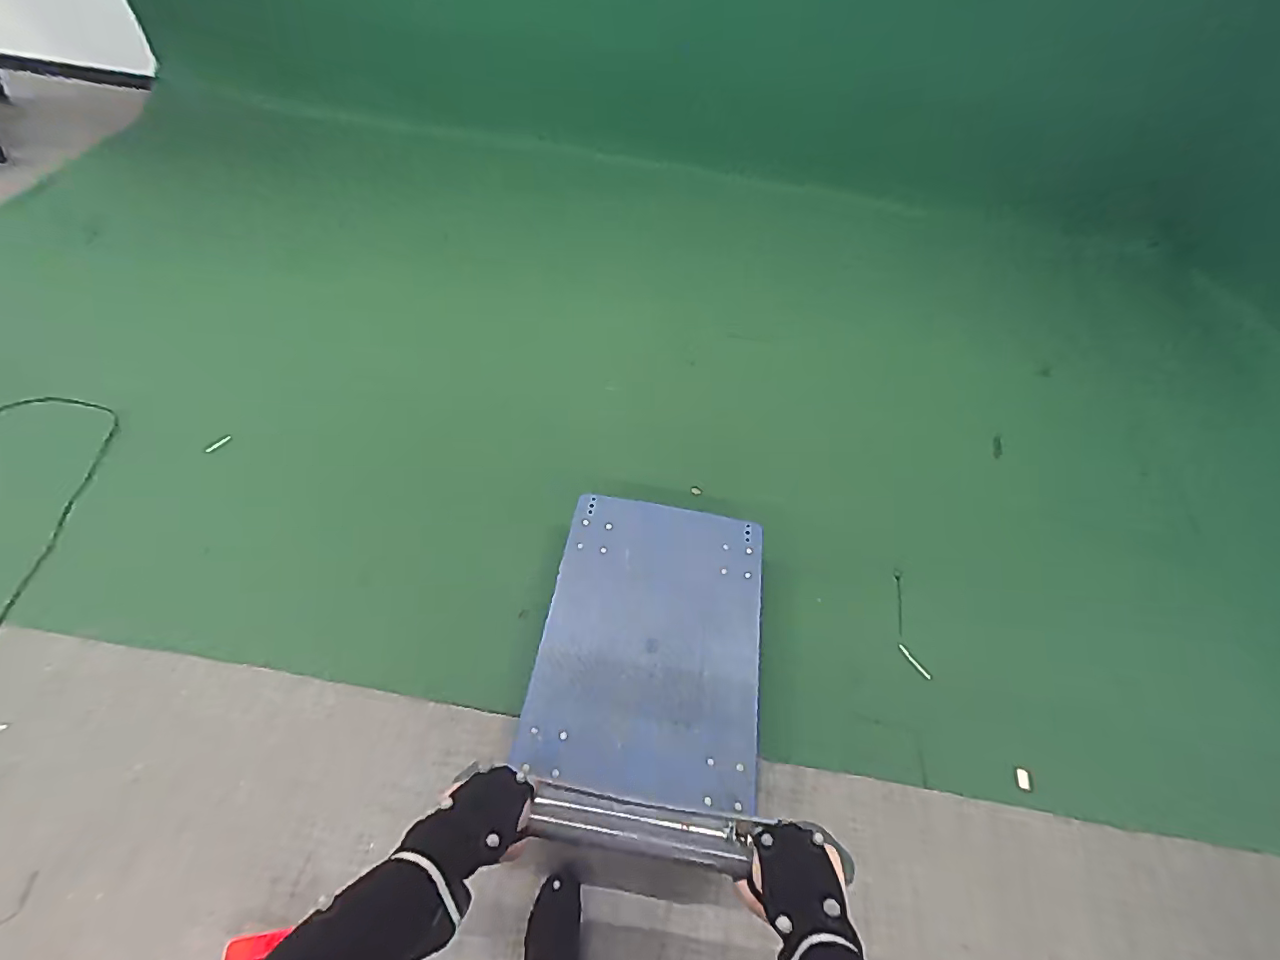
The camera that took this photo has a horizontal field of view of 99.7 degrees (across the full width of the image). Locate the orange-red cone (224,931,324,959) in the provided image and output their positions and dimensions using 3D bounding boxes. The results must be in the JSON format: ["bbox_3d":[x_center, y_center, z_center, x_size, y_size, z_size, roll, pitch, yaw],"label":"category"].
[{"bbox_3d":[-0.755,0.955,0.961,0.199,0.360,0.198,-3,55,-6],"label":"orange-red cone"}]
